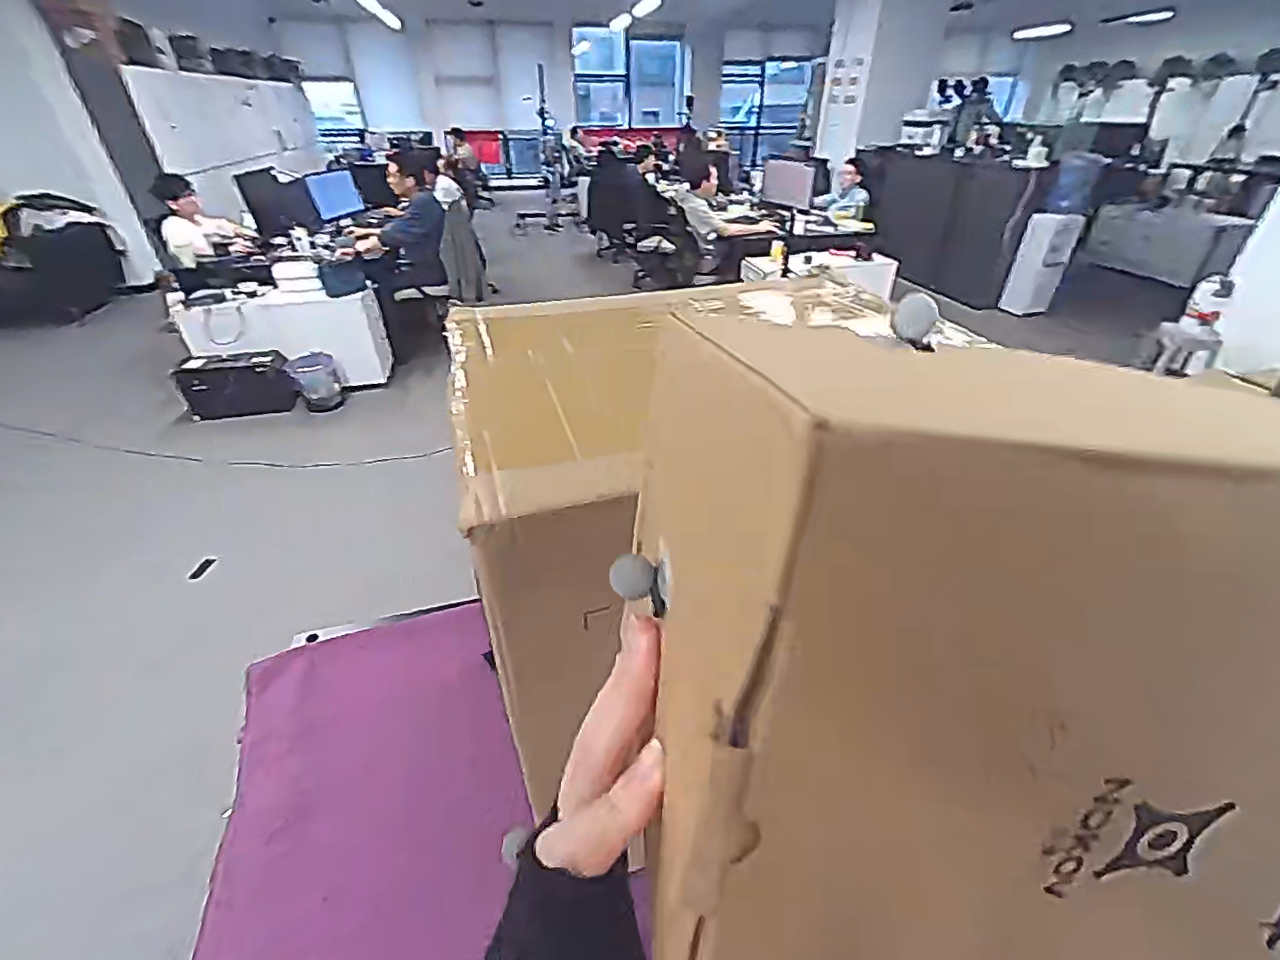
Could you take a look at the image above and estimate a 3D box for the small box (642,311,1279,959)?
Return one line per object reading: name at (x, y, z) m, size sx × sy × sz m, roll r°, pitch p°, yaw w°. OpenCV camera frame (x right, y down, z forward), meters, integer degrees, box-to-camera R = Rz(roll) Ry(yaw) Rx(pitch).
small box at (0.098, 0.039, 0.186) m, size 0.179 × 0.168 × 0.176 m, roll 5°, pitch 21°, yaw -7°
